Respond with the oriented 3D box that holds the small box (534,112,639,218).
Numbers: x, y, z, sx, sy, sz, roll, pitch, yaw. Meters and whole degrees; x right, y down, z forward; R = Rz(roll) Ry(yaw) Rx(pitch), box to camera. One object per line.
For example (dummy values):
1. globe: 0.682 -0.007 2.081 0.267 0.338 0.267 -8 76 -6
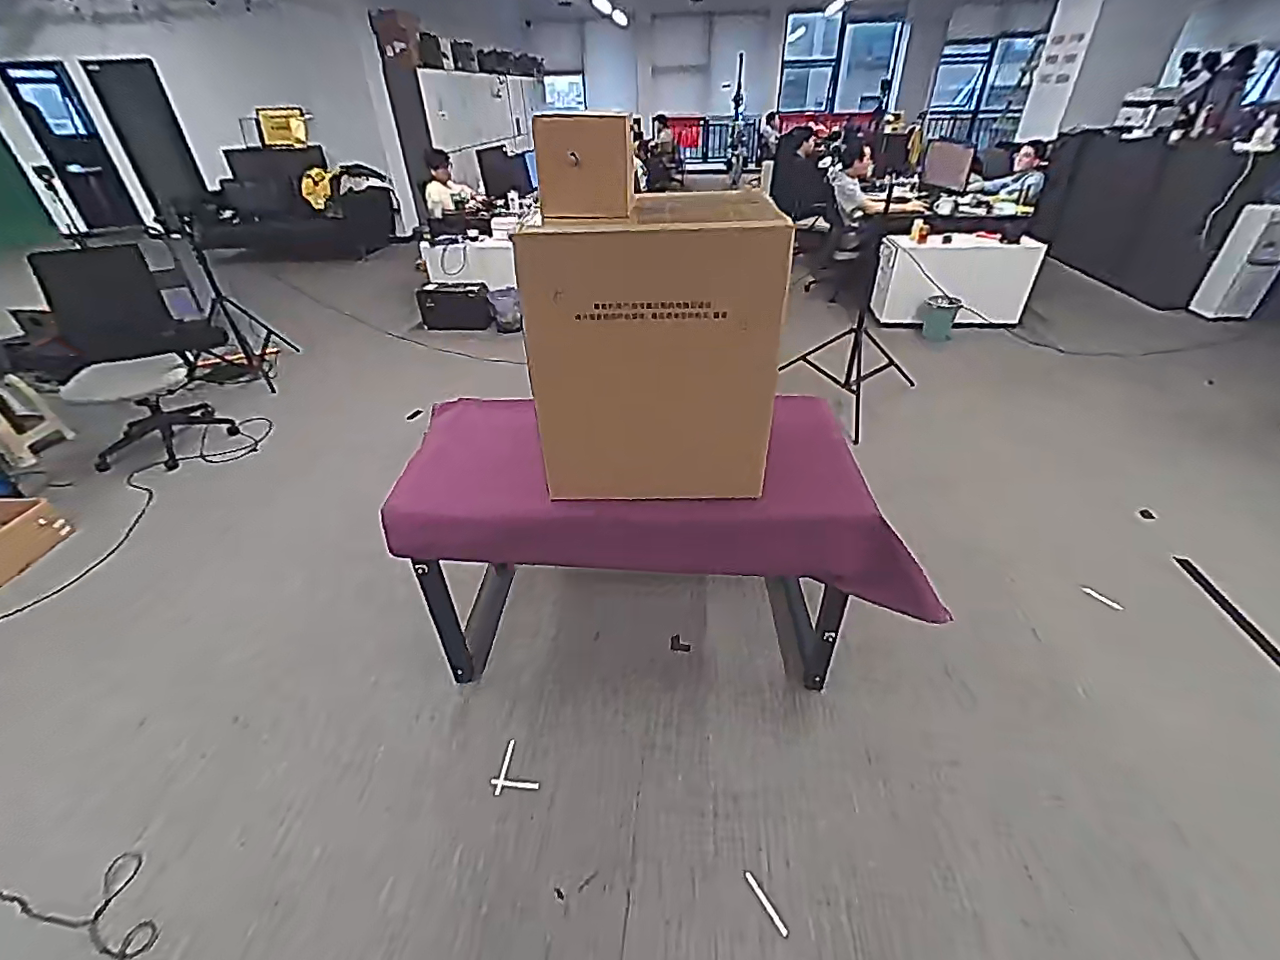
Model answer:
1. small box: -0.096 -0.623 1.070 0.179 0.176 0.168 1 37 4
